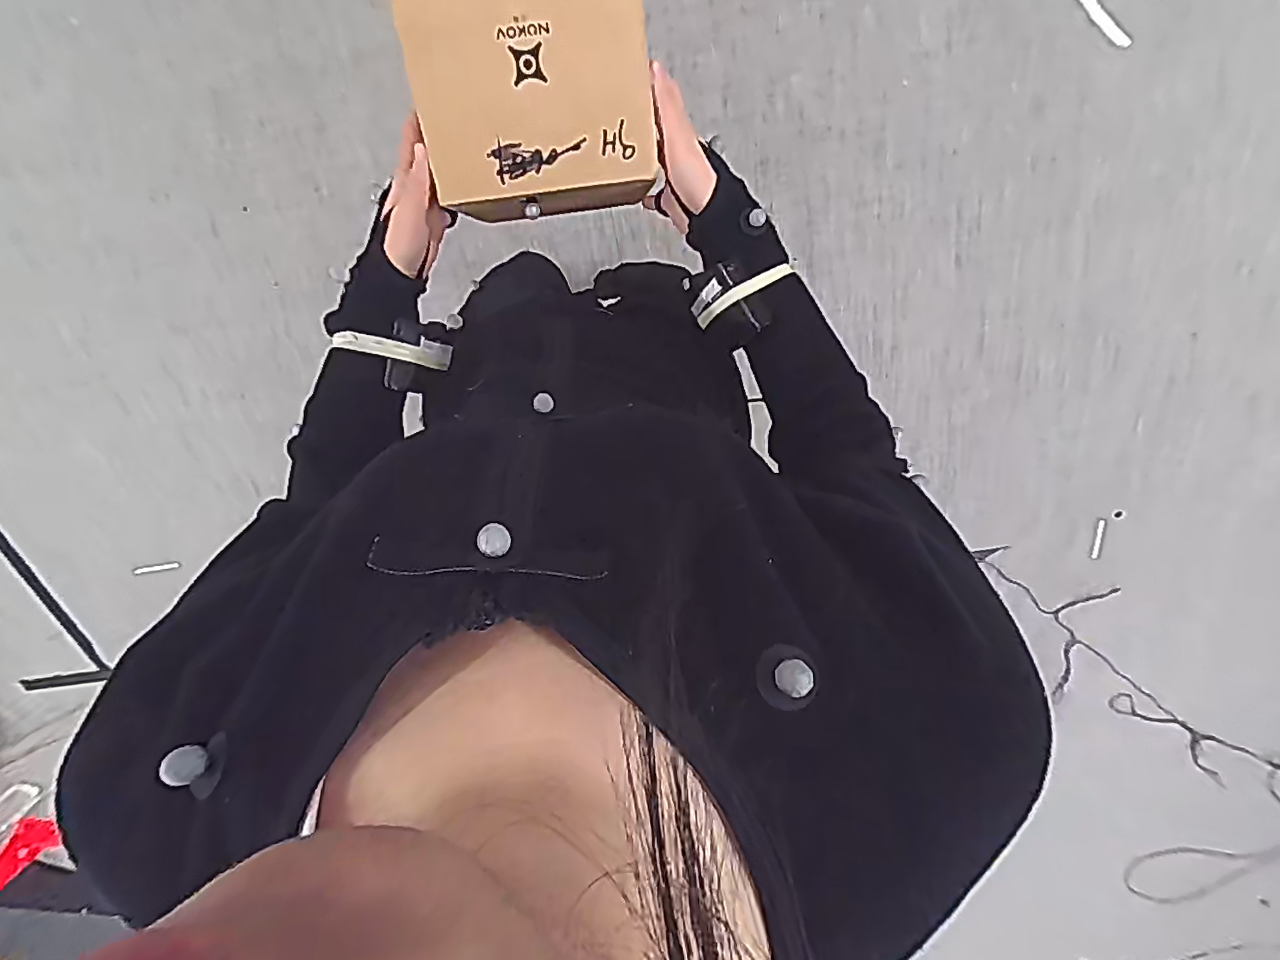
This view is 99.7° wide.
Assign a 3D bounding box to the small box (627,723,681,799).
[{"bbox_3d":[0.053,1.019,1.962,0.168,0.176,0.179,-10,114,5],"label":"small box"}]

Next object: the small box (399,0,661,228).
[{"bbox_3d":[-0.081,-0.317,0.442,0.168,0.176,0.179,-8,111,-2],"label":"small box"}]
